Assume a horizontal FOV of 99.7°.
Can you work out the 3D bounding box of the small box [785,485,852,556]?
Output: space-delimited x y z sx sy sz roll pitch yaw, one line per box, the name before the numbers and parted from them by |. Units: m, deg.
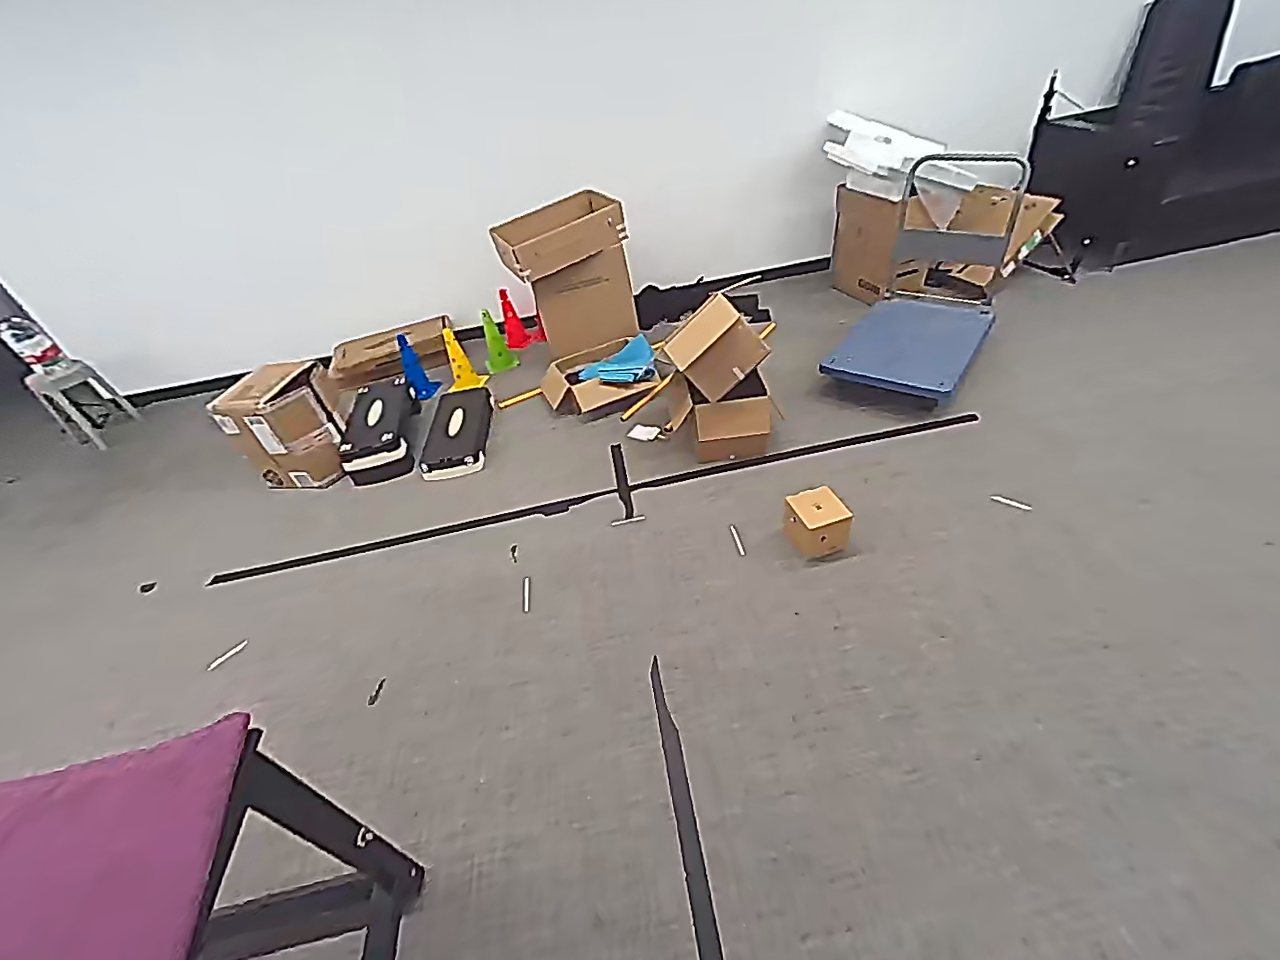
small box | 0.634 0.151 1.933 0.168 0.176 0.179 -17 40 -7
